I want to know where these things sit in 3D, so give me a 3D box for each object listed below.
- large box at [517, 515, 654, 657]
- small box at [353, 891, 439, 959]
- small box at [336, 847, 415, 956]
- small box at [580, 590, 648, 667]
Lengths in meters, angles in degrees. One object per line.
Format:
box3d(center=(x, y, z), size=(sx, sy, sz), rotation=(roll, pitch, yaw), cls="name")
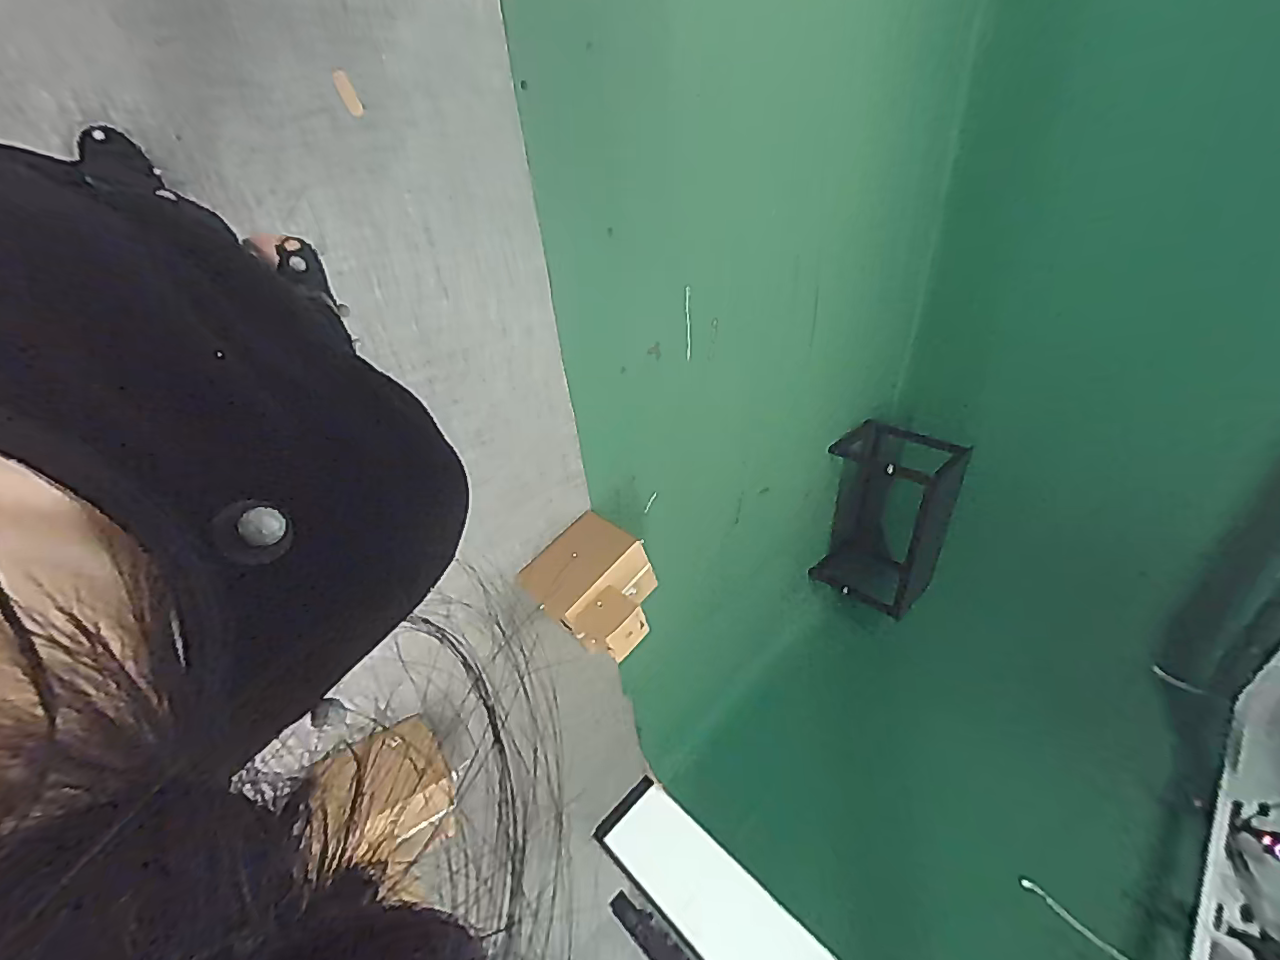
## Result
box3d(center=(-0.213, 0.418, 2.187), size=(0.408, 0.320, 0.320), rotation=(-45, 138, -24), cls="large box")
box3d(center=(-0.683, 1.315, 1.505), size=(0.179, 0.176, 0.168), rotation=(-11, 120, -45), cls="small box")
box3d(center=(-0.790, 1.255, 1.612), size=(0.168, 0.176, 0.179), rotation=(-13, 121, -44), cls="small box")
box3d(center=(-0.101, 0.542, 1.986), size=(0.179, 0.176, 0.168), rotation=(-40, 135, -26), cls="small box")
